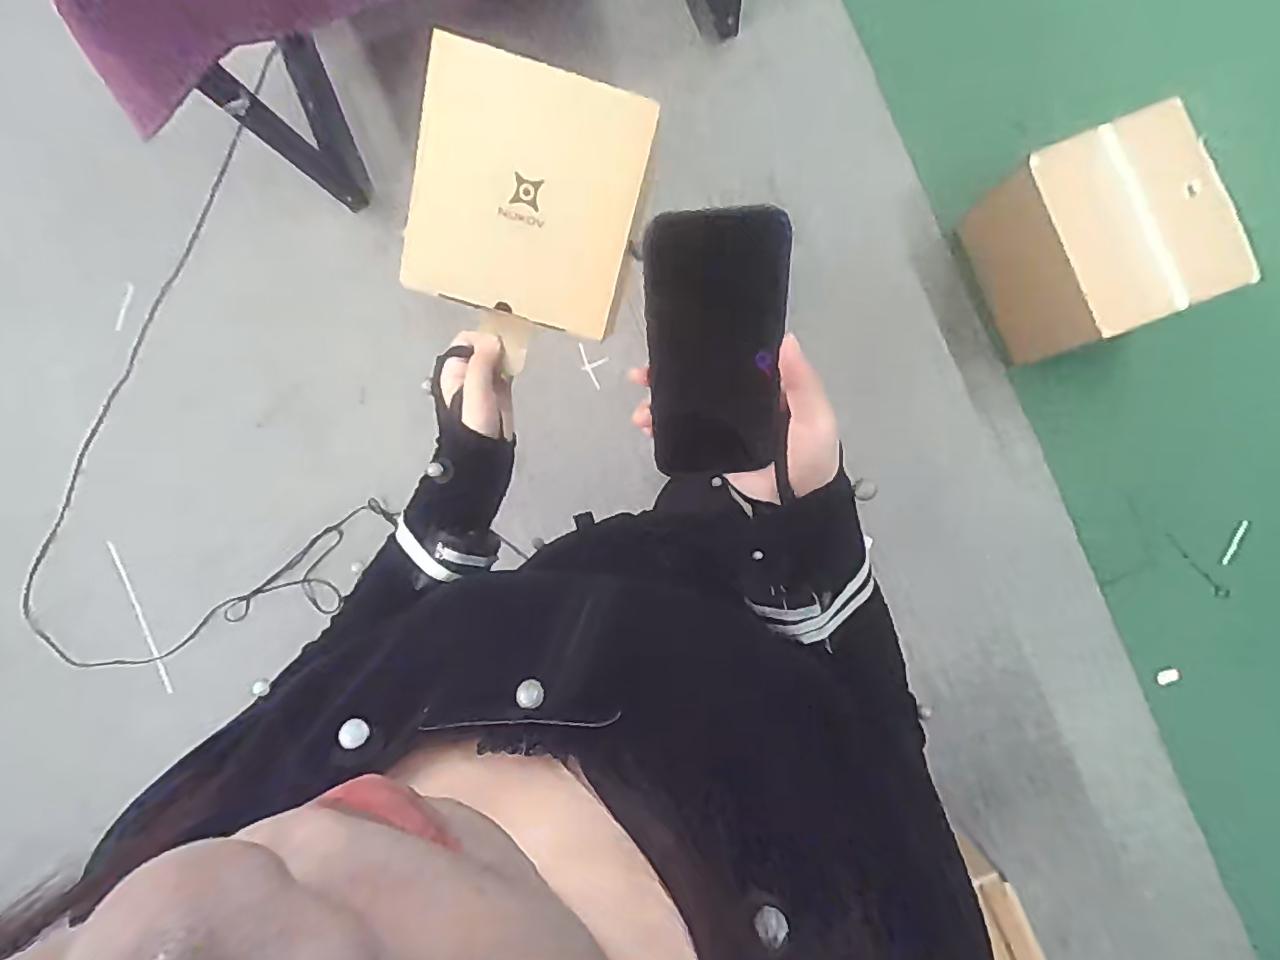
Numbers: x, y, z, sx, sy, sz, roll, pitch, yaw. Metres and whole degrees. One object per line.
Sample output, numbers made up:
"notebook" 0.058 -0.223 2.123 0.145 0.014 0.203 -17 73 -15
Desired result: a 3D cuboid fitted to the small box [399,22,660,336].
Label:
"small box" -0.089 -0.243 0.482 0.168 0.176 0.179 15 108 -6
